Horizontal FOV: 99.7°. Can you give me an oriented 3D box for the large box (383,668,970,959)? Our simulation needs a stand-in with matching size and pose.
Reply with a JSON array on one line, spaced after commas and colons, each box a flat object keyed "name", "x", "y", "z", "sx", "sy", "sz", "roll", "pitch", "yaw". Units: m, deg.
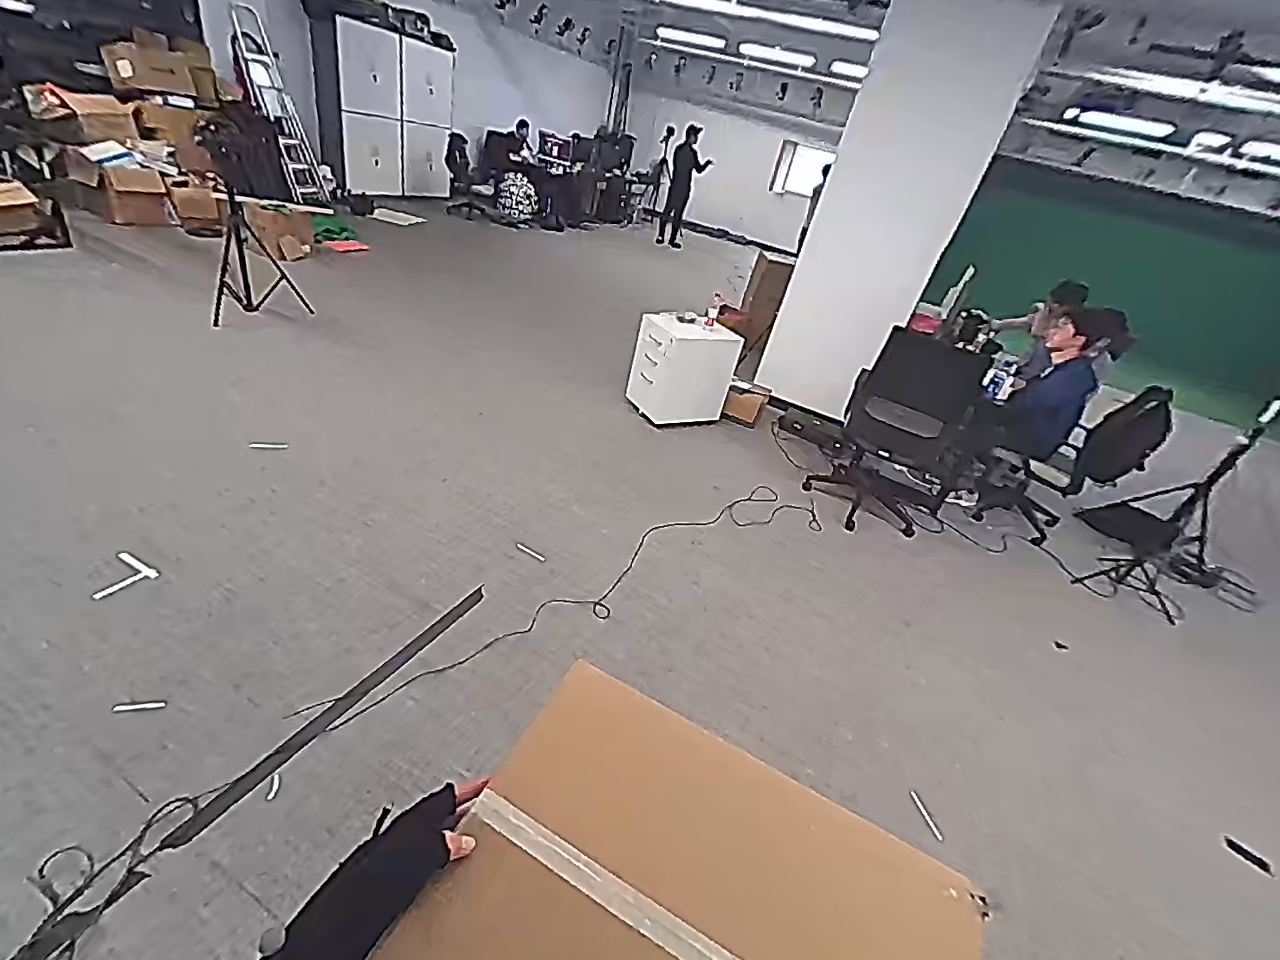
[{"name": "large box", "x": 0.024, "y": 0.466, "z": 0.516, "sx": 0.408, "sy": 0.320, "sz": 0.320, "roll": 24, "pitch": 44, "yaw": 17}]
